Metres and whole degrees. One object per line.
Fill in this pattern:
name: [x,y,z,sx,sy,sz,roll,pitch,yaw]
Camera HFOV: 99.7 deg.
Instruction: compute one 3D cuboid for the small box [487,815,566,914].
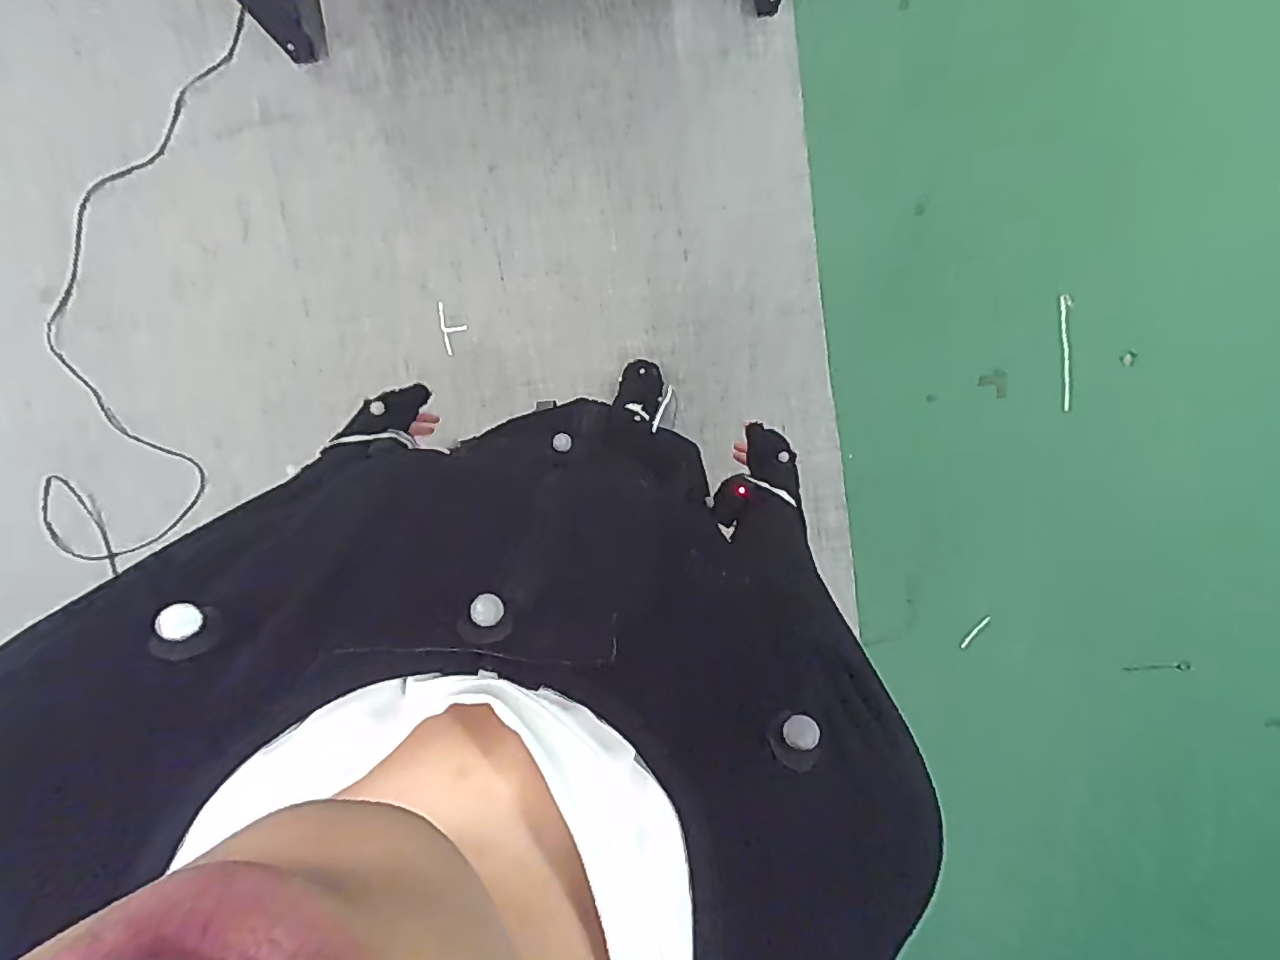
small box: [-0.302,1.055,1.476,0.168,0.176,0.179,-15,99,-3]
